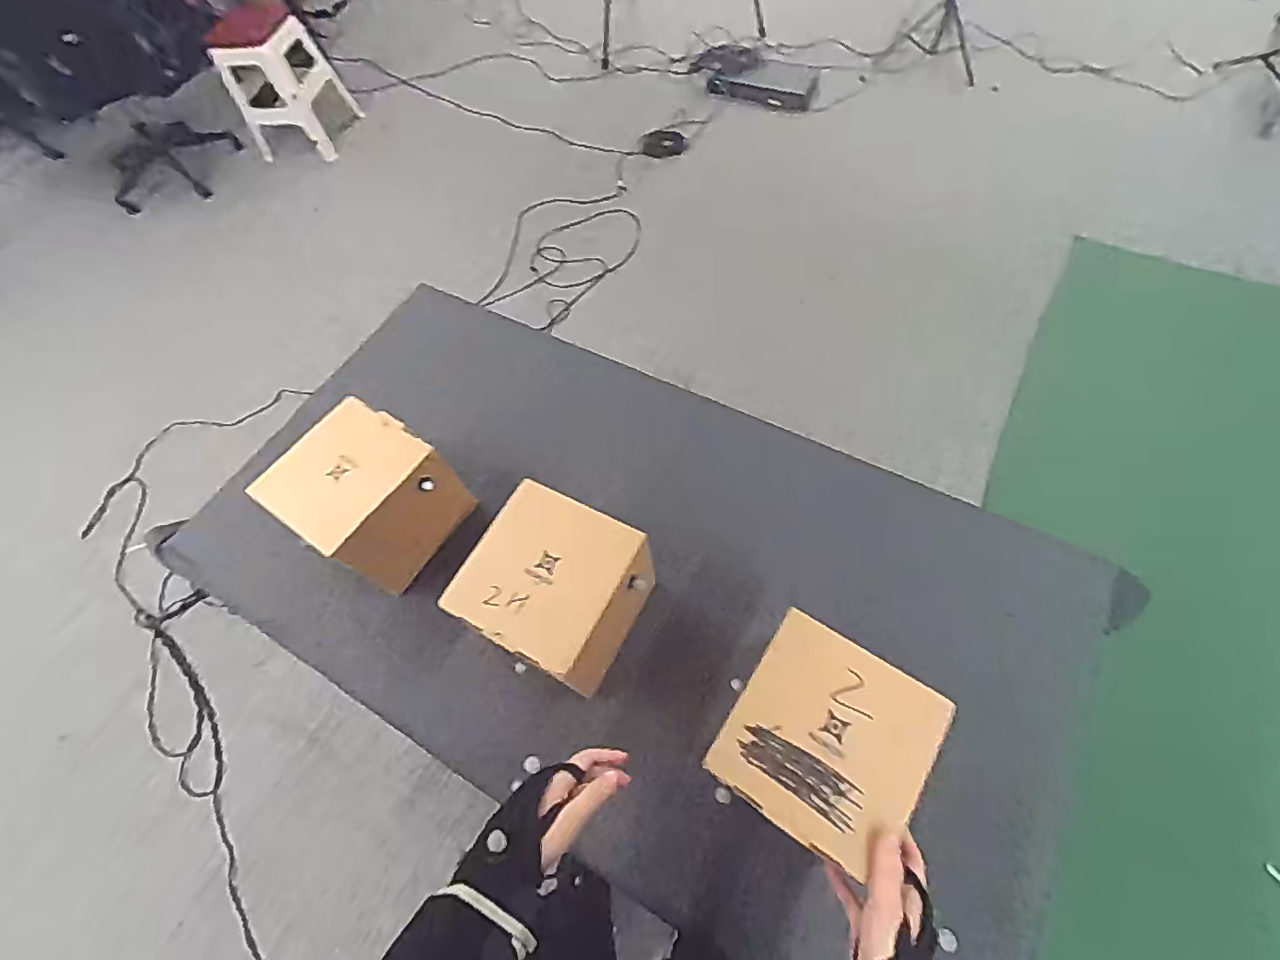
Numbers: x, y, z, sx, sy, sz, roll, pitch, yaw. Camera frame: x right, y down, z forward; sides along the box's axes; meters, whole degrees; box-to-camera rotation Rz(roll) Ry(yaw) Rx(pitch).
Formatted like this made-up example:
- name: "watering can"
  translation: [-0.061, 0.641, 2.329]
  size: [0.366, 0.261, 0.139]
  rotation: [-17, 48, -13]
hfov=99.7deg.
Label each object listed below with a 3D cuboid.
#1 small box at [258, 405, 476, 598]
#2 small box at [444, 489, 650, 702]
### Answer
- name: "small box"
  translation: [-0.361, 0.036, 0.750]
  size: [0.168, 0.176, 0.179]
  rotation: [29, 67, 19]
- name: "small box"
  translation: [-0.099, 0.147, 0.665]
  size: [0.168, 0.176, 0.179]
  rotation: [26, 67, 17]
